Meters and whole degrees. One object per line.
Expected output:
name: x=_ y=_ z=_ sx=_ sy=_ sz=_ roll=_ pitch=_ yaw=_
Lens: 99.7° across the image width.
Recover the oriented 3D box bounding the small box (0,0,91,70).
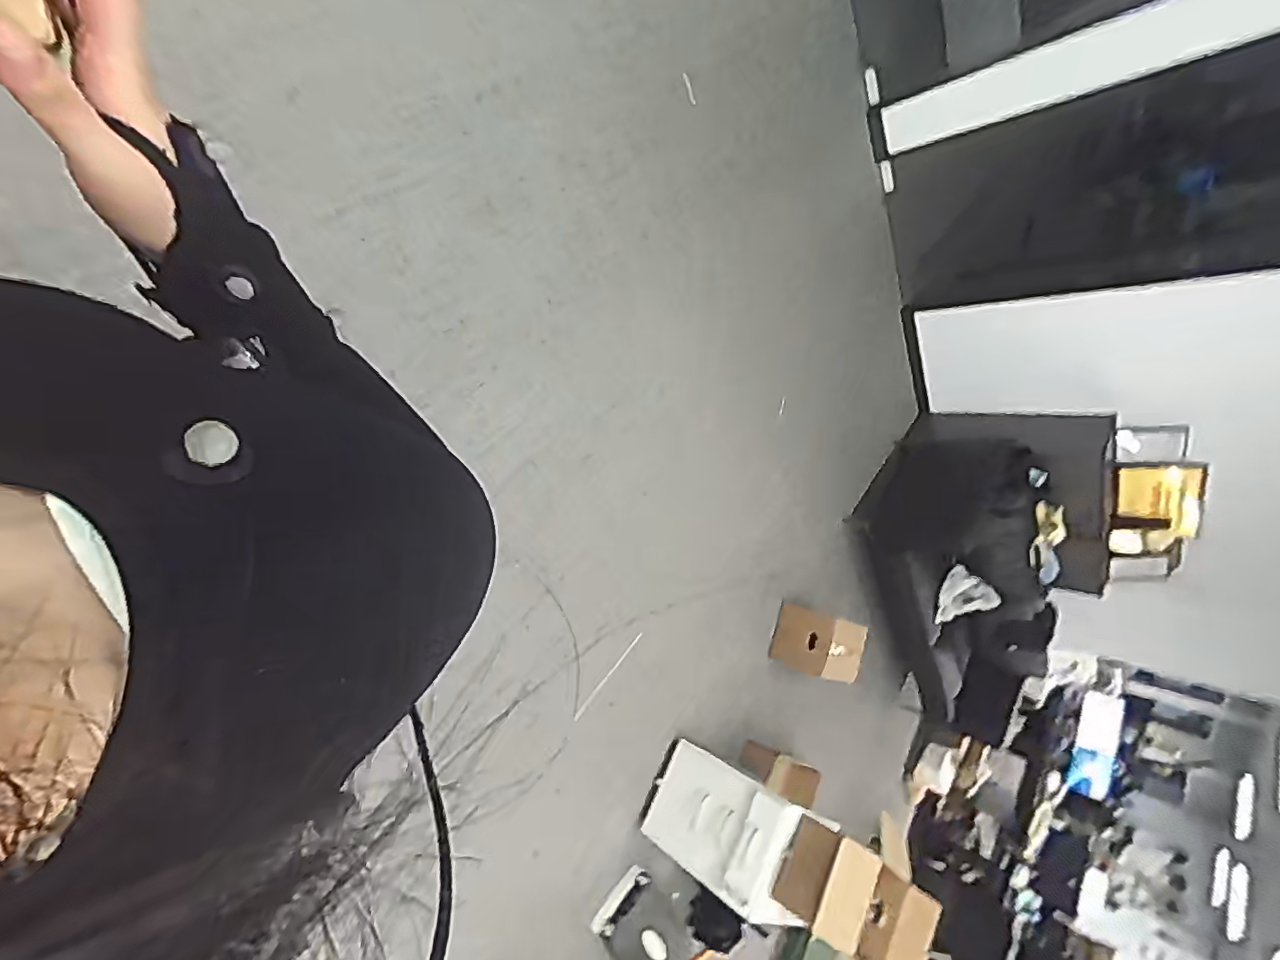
small box: x=-0.321 y=-0.271 z=0.186 sx=0.168 sy=0.176 sz=0.179 roll=-11 pitch=123 yaw=-41
